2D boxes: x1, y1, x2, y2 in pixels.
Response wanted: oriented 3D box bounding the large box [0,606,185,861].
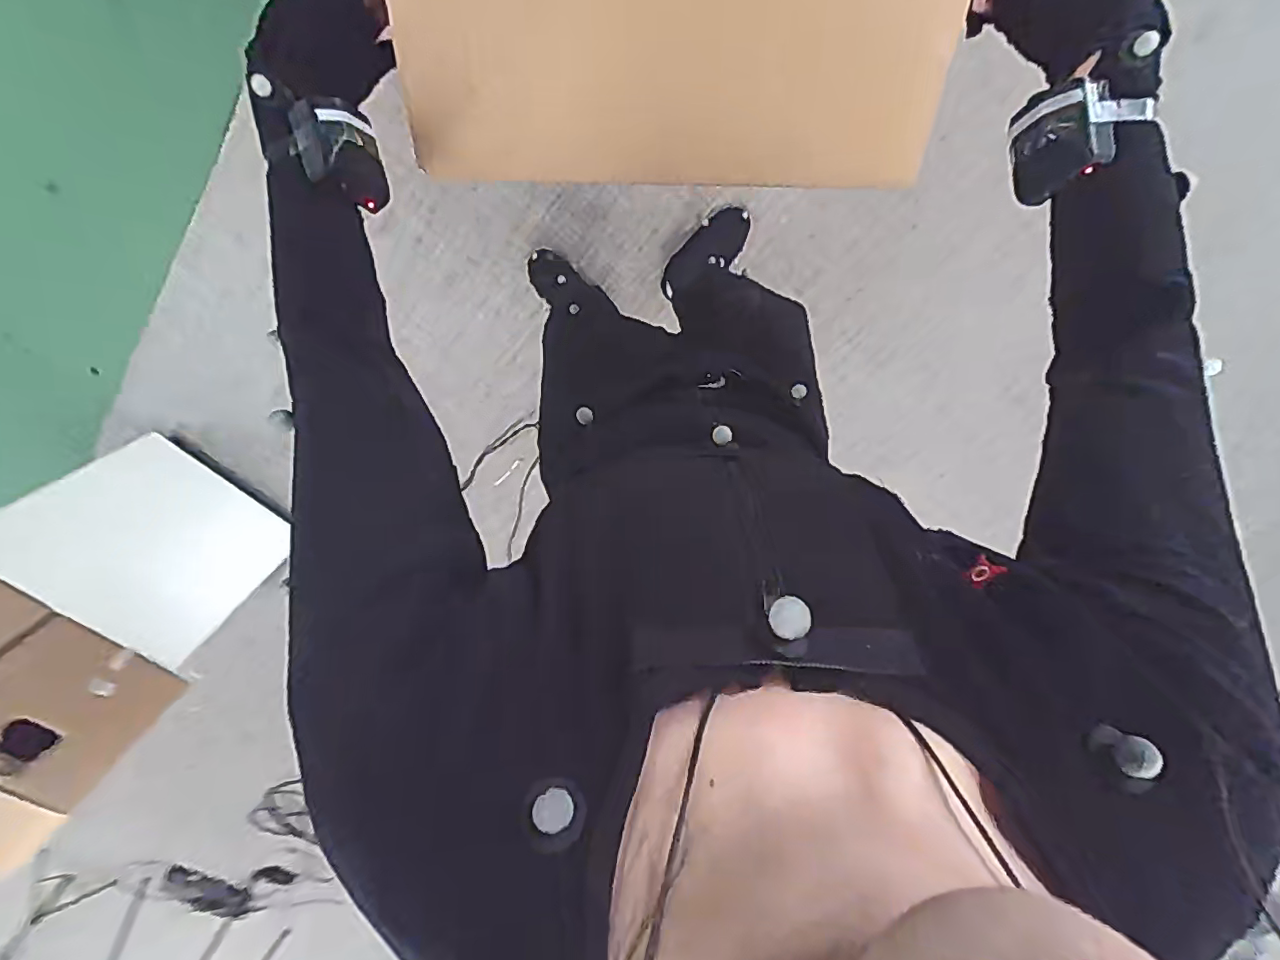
[{"bbox_3d":[-1.329,0.554,1.191,0.408,0.320,0.320,-38,110,24],"label":"large box"}]
